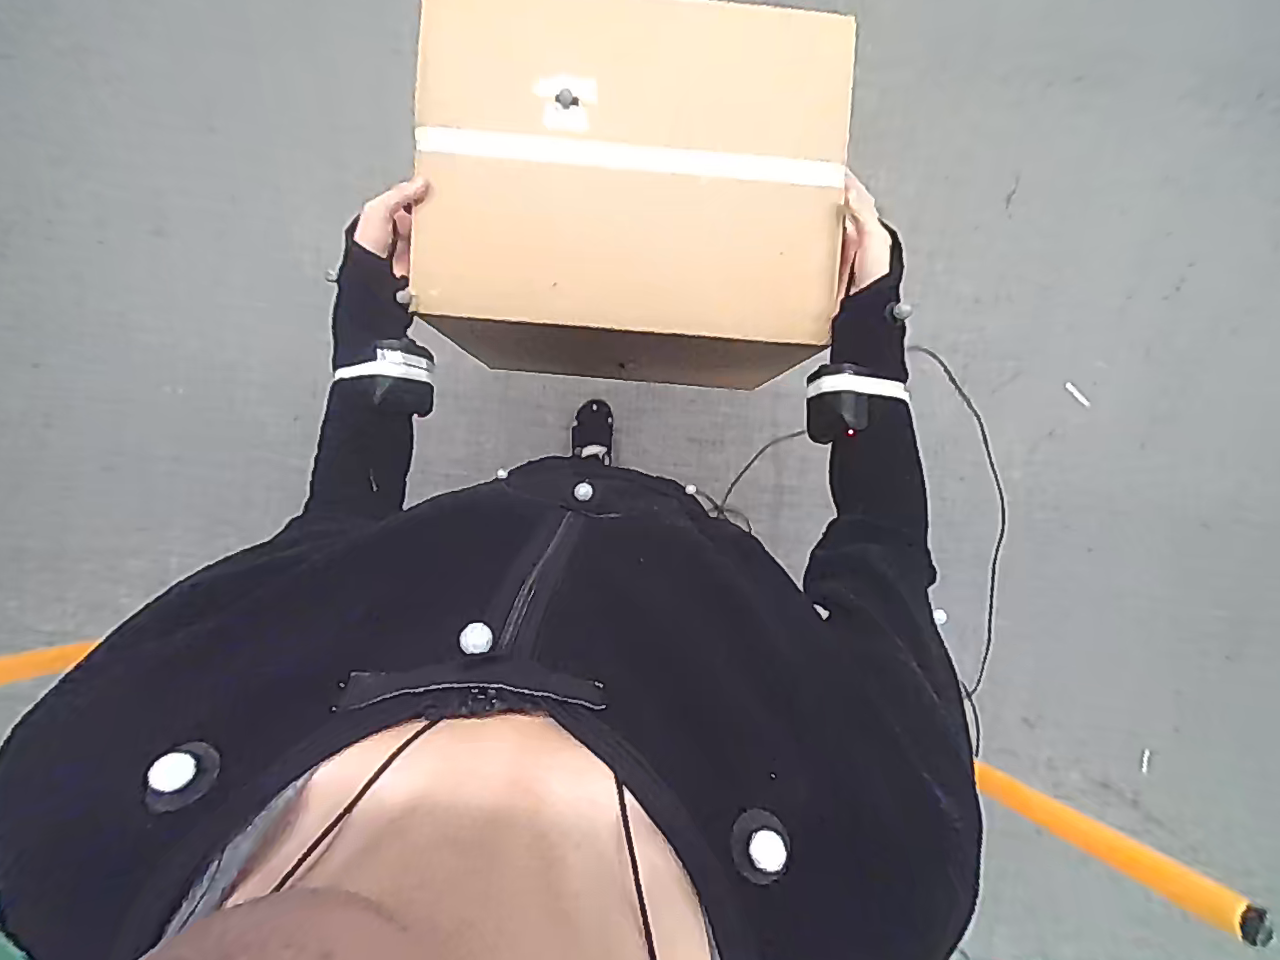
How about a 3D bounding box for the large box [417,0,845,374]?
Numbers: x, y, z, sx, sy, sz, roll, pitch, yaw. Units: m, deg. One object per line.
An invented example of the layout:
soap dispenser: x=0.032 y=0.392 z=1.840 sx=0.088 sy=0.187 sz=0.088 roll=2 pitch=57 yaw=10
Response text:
large box: x=-0.010 y=-0.313 z=0.665 sx=0.408 sy=0.320 sz=0.320 roll=4 pitch=91 yaw=-2
